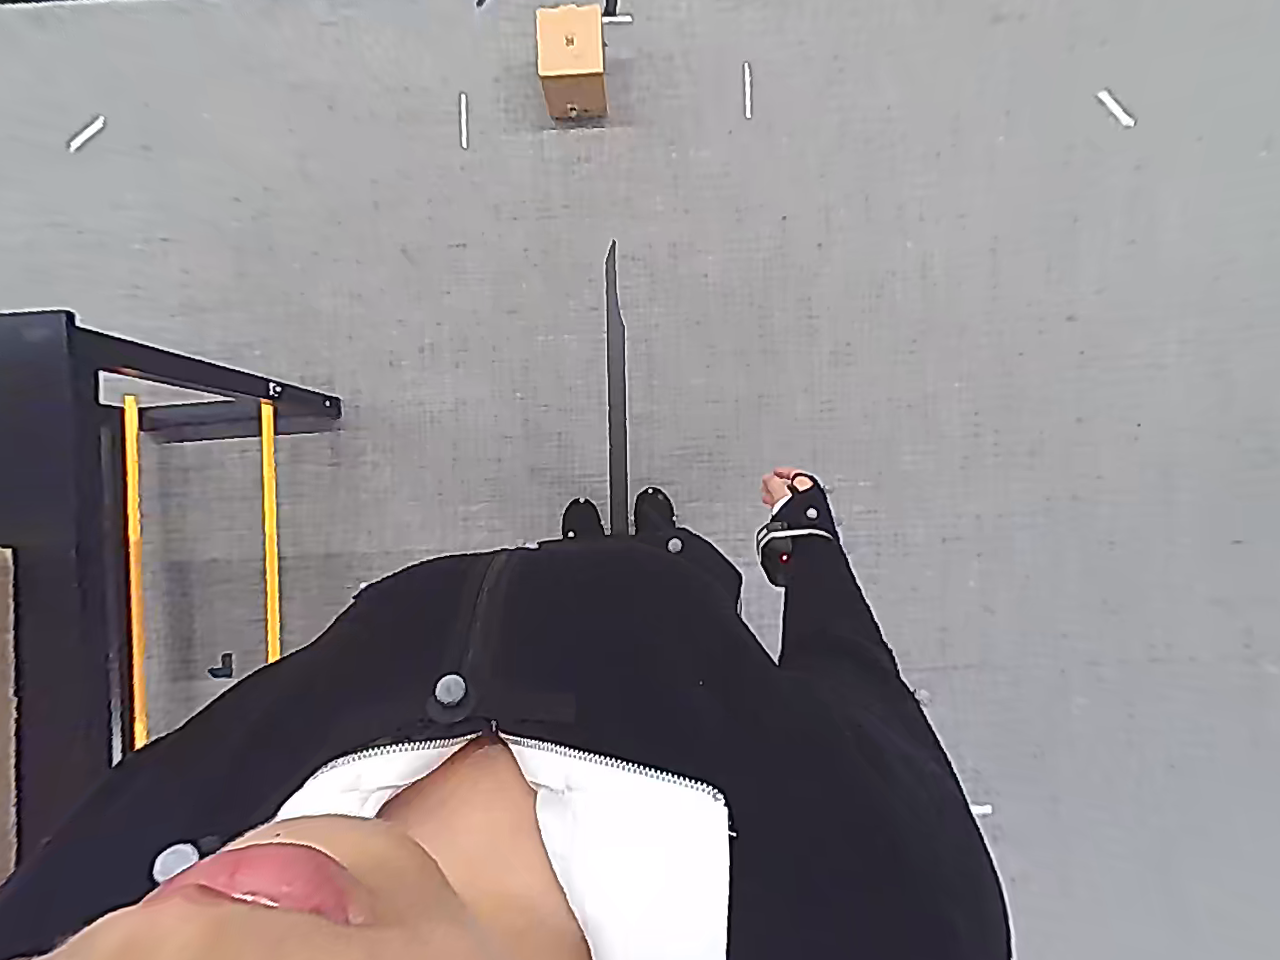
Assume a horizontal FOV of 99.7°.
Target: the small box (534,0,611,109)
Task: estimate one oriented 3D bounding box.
[{"bbox_3d":[-0.164,-1.073,1.351,0.168,0.176,0.179,-4,91,2],"label":"small box"}]
